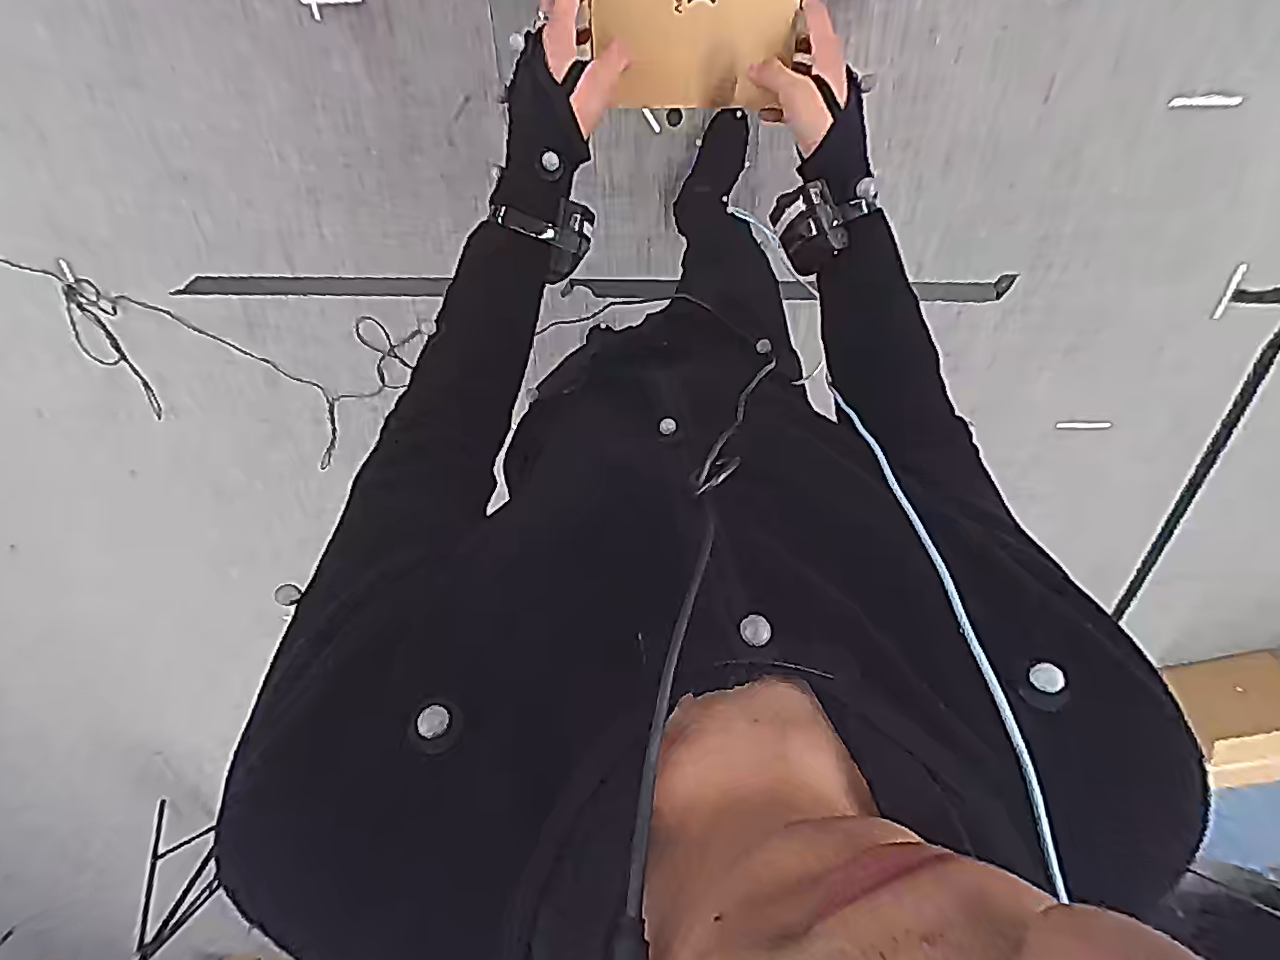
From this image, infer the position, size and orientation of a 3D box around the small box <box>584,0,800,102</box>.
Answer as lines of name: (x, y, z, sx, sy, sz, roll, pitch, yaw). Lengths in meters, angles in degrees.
small box: (0.038, -0.448, 0.485, 0.179, 0.176, 0.168, -3, 130, -3)
